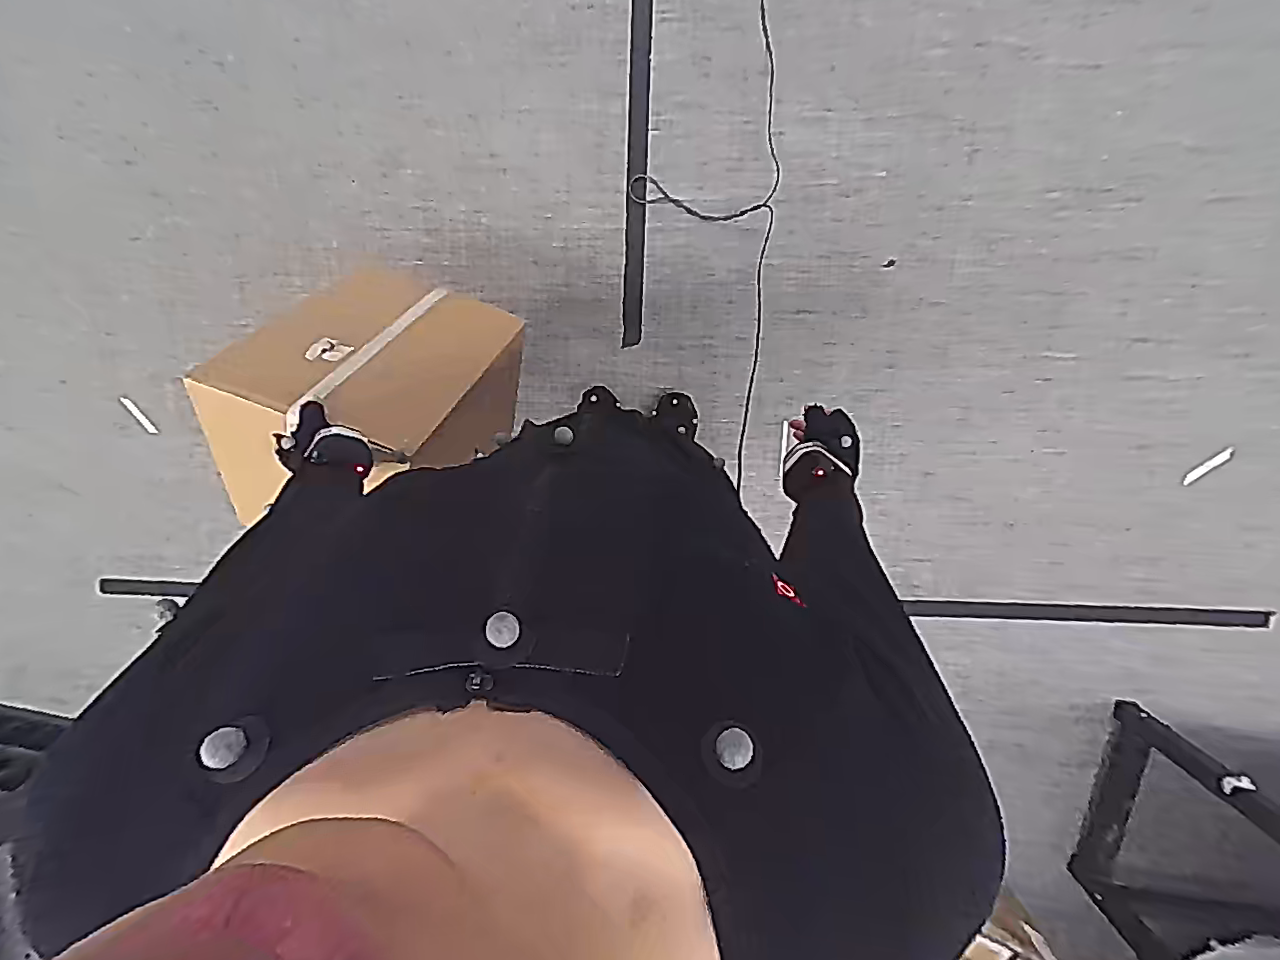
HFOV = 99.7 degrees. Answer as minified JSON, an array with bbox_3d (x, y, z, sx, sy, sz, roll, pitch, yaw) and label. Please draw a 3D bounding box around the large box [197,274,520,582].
[{"bbox_3d":[-0.443,-0.101,0.963,0.320,0.408,0.320,19,134,0],"label":"large box"}]
